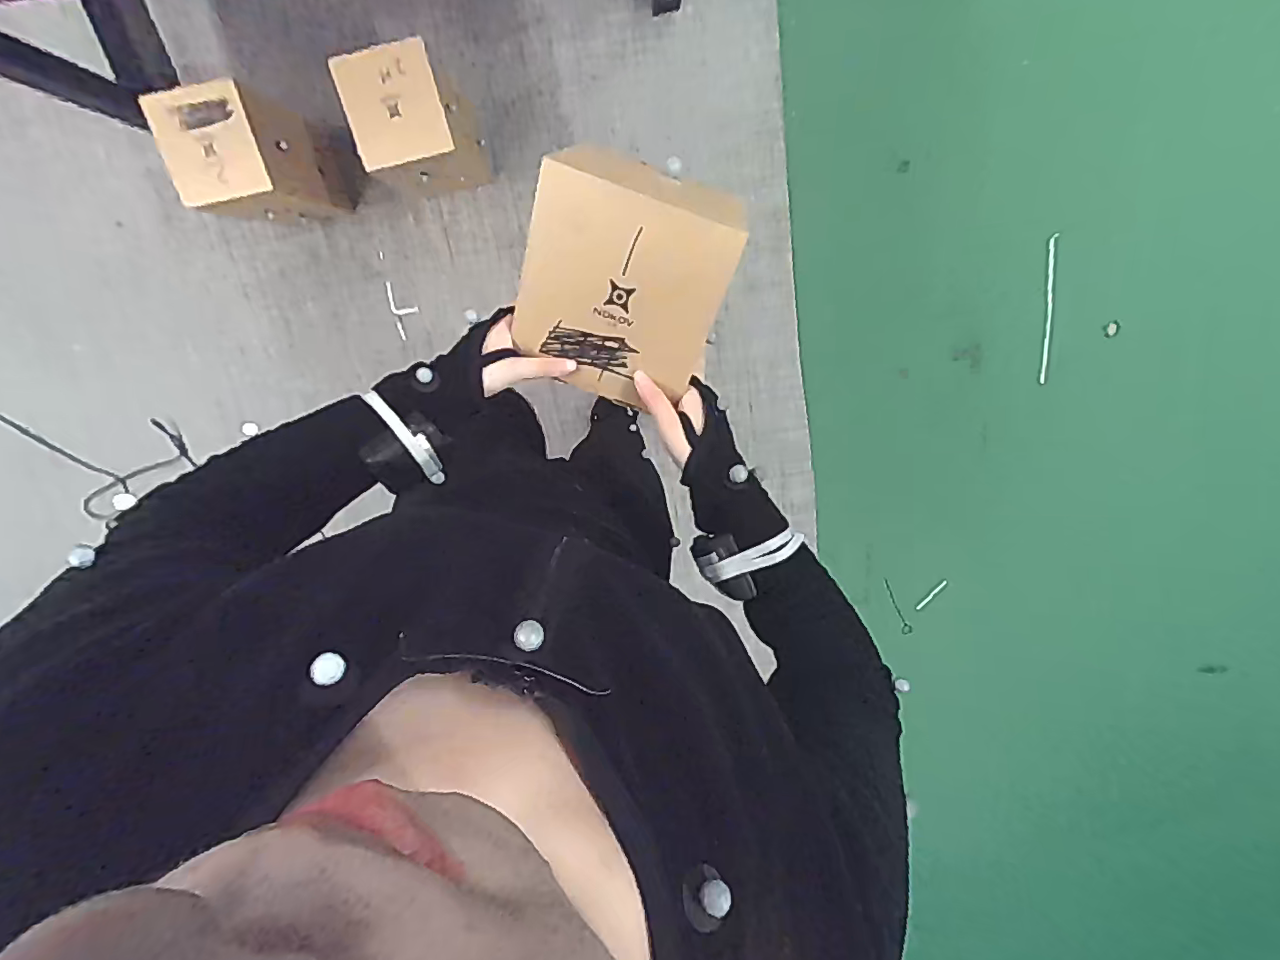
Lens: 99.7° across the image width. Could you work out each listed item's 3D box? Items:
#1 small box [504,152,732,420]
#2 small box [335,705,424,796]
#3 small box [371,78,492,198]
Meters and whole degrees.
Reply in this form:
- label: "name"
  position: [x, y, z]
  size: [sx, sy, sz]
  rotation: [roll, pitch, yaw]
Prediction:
- label: "small box"
  position: [-0.016, -0.194, 0.529]
  size: [0.168, 0.176, 0.179]
  rotation: [19, 126, -4]
- label: "small box"
  position: [-0.778, 0.813, 1.641]
  size: [0.179, 0.176, 0.168]
  rotation: [-12, 107, 2]
- label: "small box"
  position: [-0.440, -0.727, 1.170]
  size: [0.179, 0.176, 0.168]
  rotation: [-11, 108, 1]
